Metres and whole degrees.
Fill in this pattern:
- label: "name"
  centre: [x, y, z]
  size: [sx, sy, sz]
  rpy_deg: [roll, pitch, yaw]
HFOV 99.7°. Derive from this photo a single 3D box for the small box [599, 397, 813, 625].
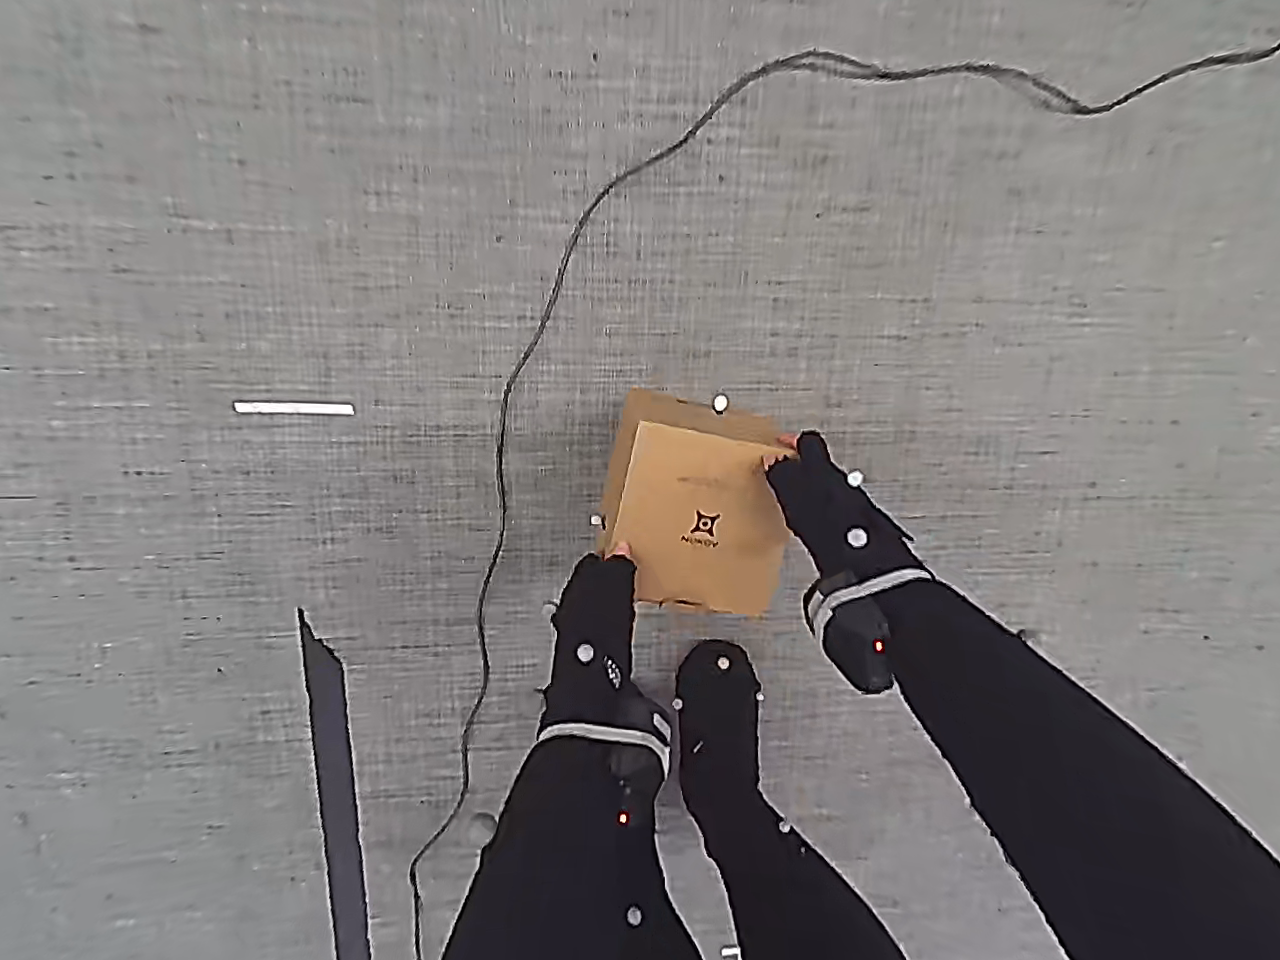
- label: "small box"
  centre: [0.053, 0.024, 0.574]
  size: [0.168, 0.176, 0.179]
  rpy_deg: [10, 108, -9]
